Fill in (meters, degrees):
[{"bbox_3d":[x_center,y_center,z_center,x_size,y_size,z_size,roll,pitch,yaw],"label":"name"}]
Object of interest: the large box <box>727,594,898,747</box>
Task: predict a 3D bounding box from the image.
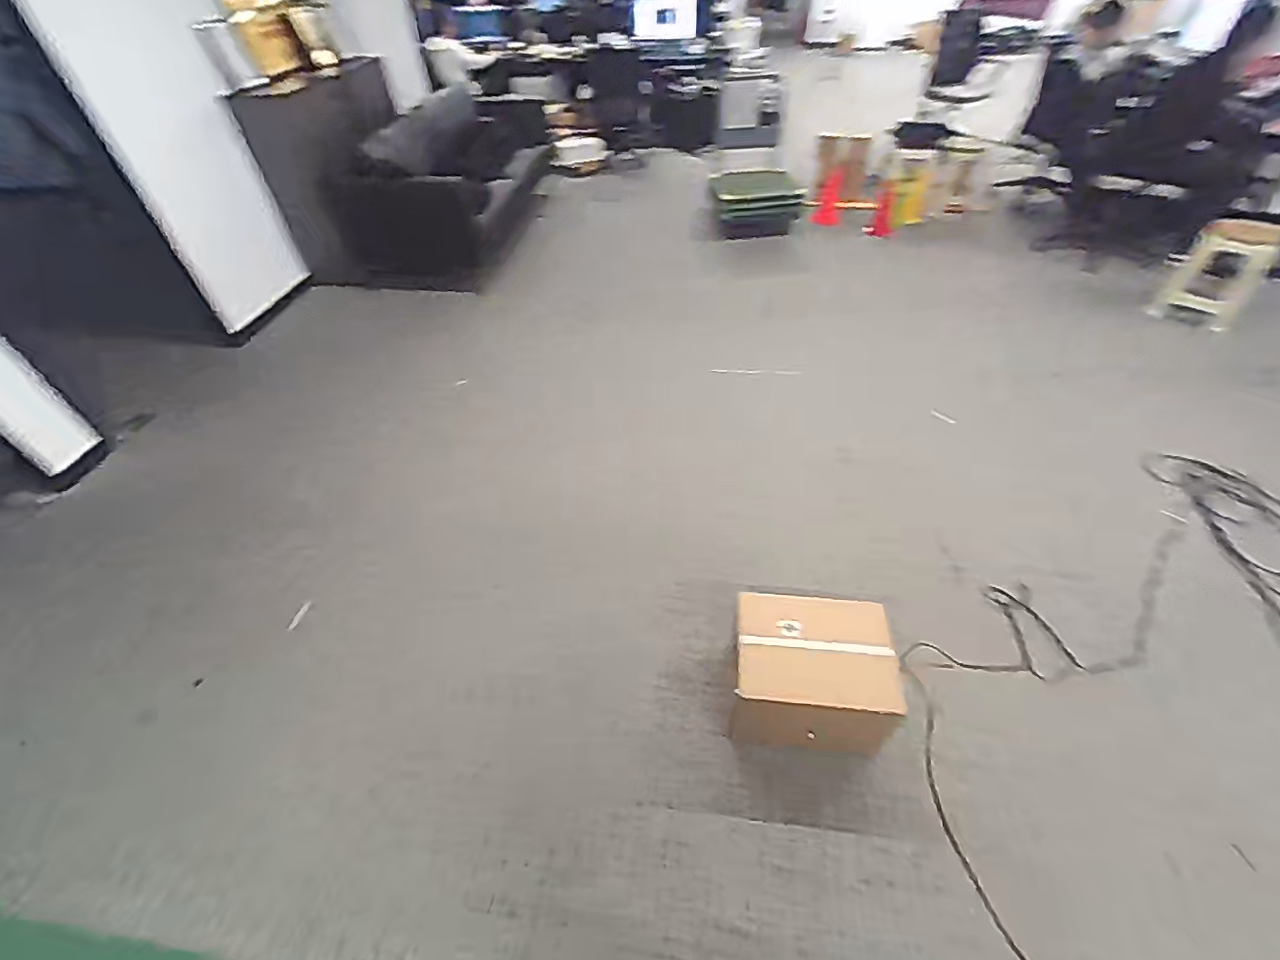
[{"bbox_3d":[0.463,0.548,1.555,0.408,0.320,0.320,1,45,6],"label":"large box"}]
